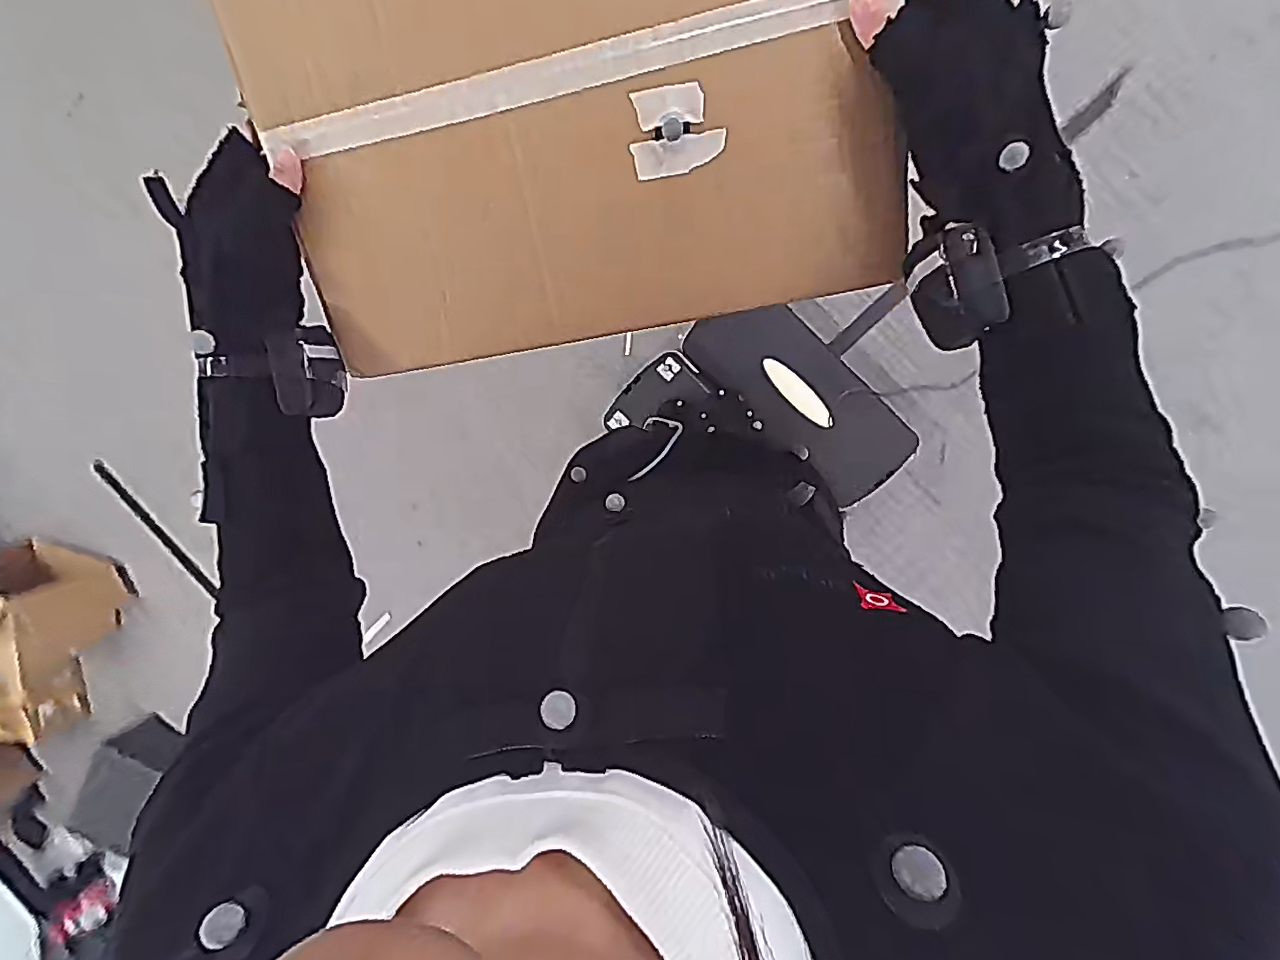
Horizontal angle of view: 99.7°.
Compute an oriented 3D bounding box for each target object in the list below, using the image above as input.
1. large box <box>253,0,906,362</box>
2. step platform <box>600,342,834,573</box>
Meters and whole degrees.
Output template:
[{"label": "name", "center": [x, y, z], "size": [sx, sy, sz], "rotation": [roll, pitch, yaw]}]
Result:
[{"label": "large box", "center": [-0.029, -0.311, 0.484], "size": [0.408, 0.320, 0.320], "rotation": [-7, 110, 8]}, {"label": "step platform", "center": [0.212, -0.064, 1.513], "size": [0.684, 0.204, 0.286], "rotation": [45, 104, 3]}]
